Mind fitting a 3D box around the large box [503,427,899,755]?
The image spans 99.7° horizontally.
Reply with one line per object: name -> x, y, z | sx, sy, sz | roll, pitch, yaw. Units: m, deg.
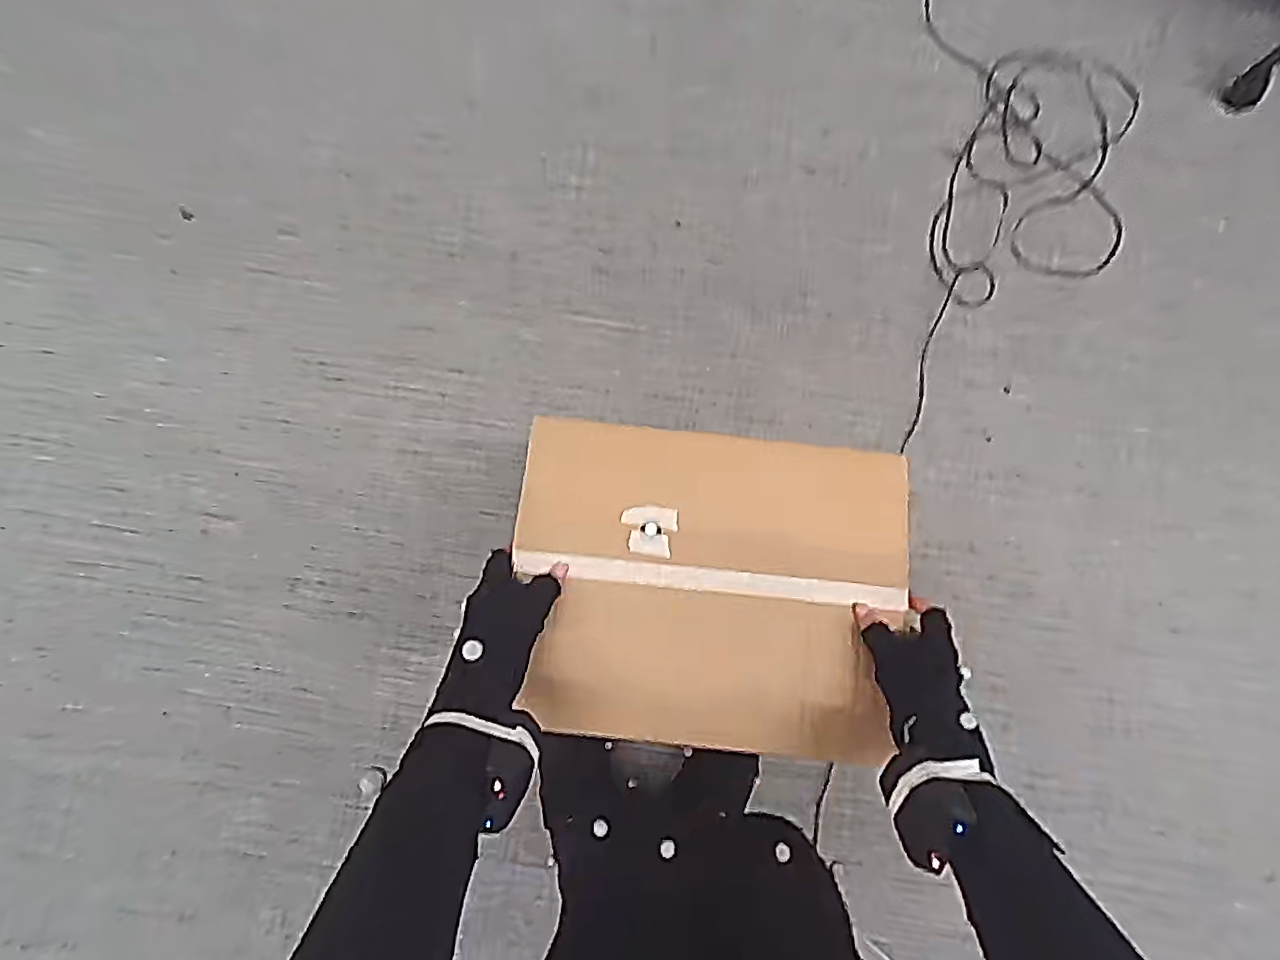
large box -> 0.074, 0.136, 0.715 | 0.408, 0.320, 0.320 | 6, 78, 1
